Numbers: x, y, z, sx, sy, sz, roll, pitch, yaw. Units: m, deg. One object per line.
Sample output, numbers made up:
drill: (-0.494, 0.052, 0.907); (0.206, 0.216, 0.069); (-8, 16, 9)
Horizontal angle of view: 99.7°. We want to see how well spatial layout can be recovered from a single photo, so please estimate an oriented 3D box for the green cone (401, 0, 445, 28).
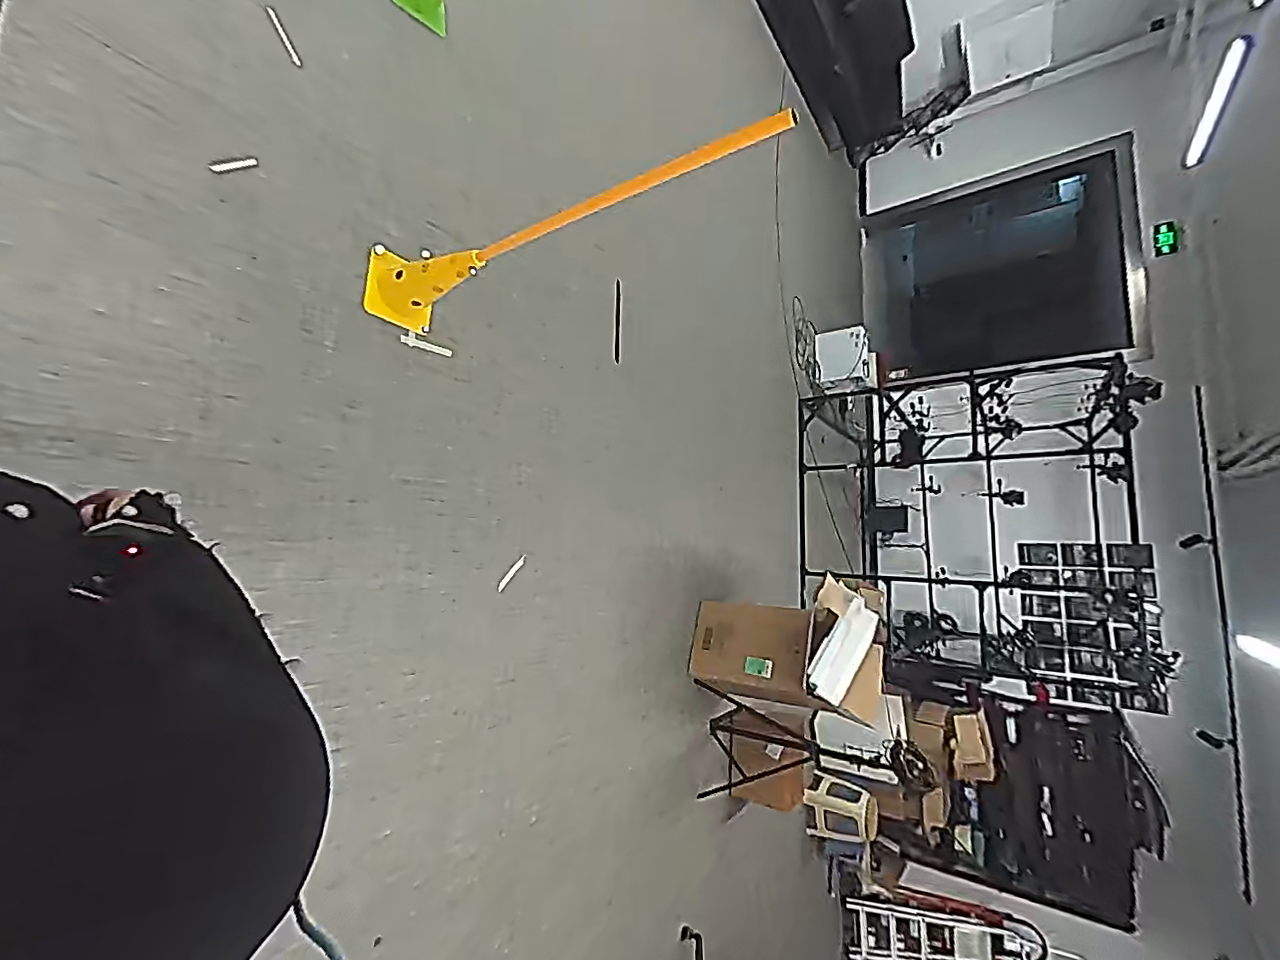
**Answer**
green cone: (-0.543, -1.532, 1.548); (0.200, 0.368, 0.202); (-6, 94, -55)
